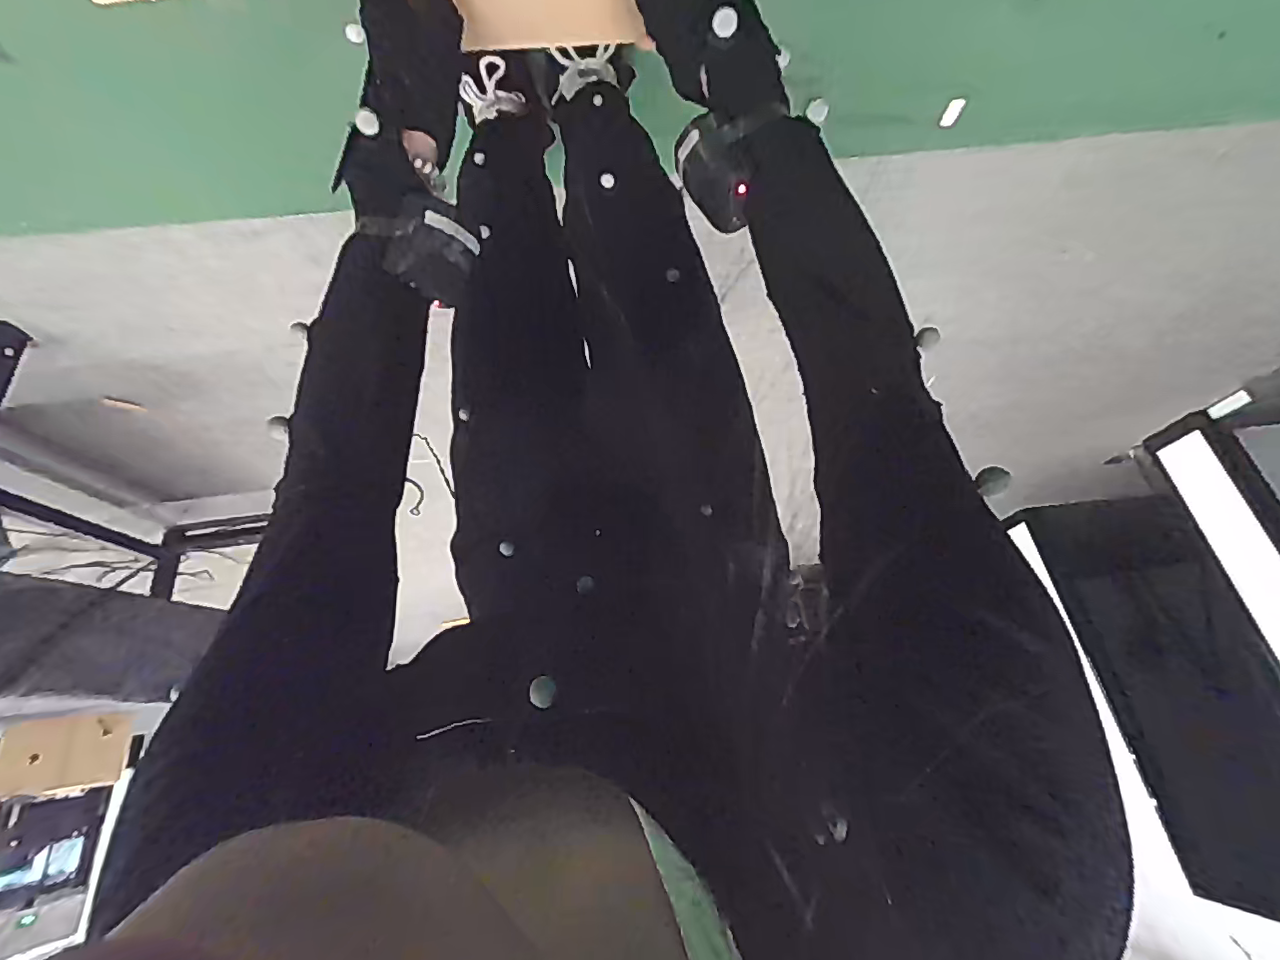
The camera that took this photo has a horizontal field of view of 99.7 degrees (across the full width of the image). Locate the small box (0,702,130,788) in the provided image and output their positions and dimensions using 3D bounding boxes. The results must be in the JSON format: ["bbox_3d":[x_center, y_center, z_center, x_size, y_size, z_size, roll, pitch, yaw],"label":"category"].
[{"bbox_3d":[-1.449,0.663,1.356,0.179,0.176,0.168,-7,156,-3],"label":"small box"}]
